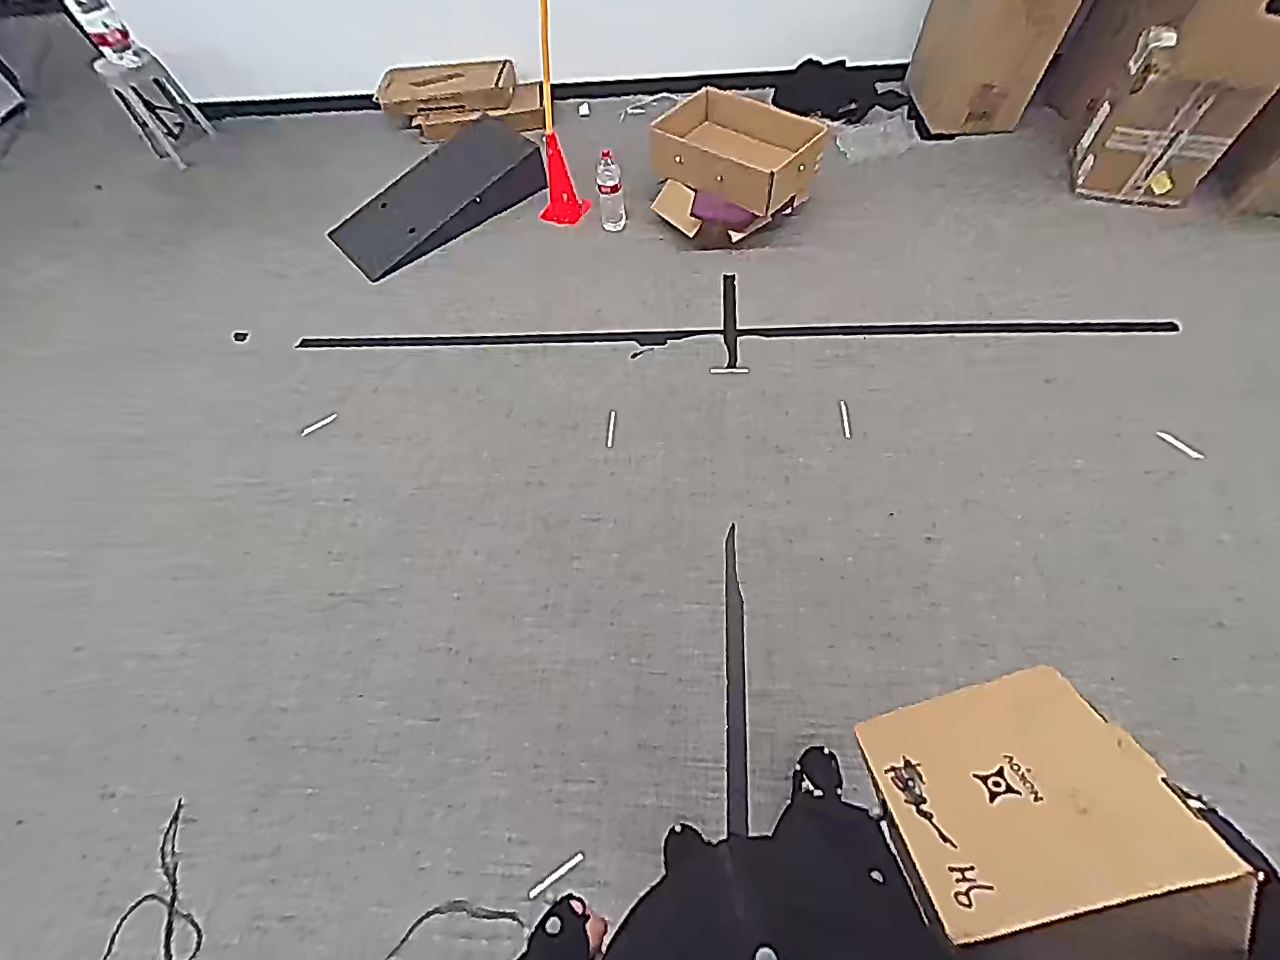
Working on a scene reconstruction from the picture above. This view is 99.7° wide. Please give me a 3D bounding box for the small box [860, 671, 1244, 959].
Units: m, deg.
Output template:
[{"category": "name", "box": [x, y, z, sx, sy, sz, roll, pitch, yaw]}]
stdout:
[{"category": "small box", "box": [0.308, 0.295, 0.437, 0.179, 0.176, 0.168, -21, 23, 8]}]
